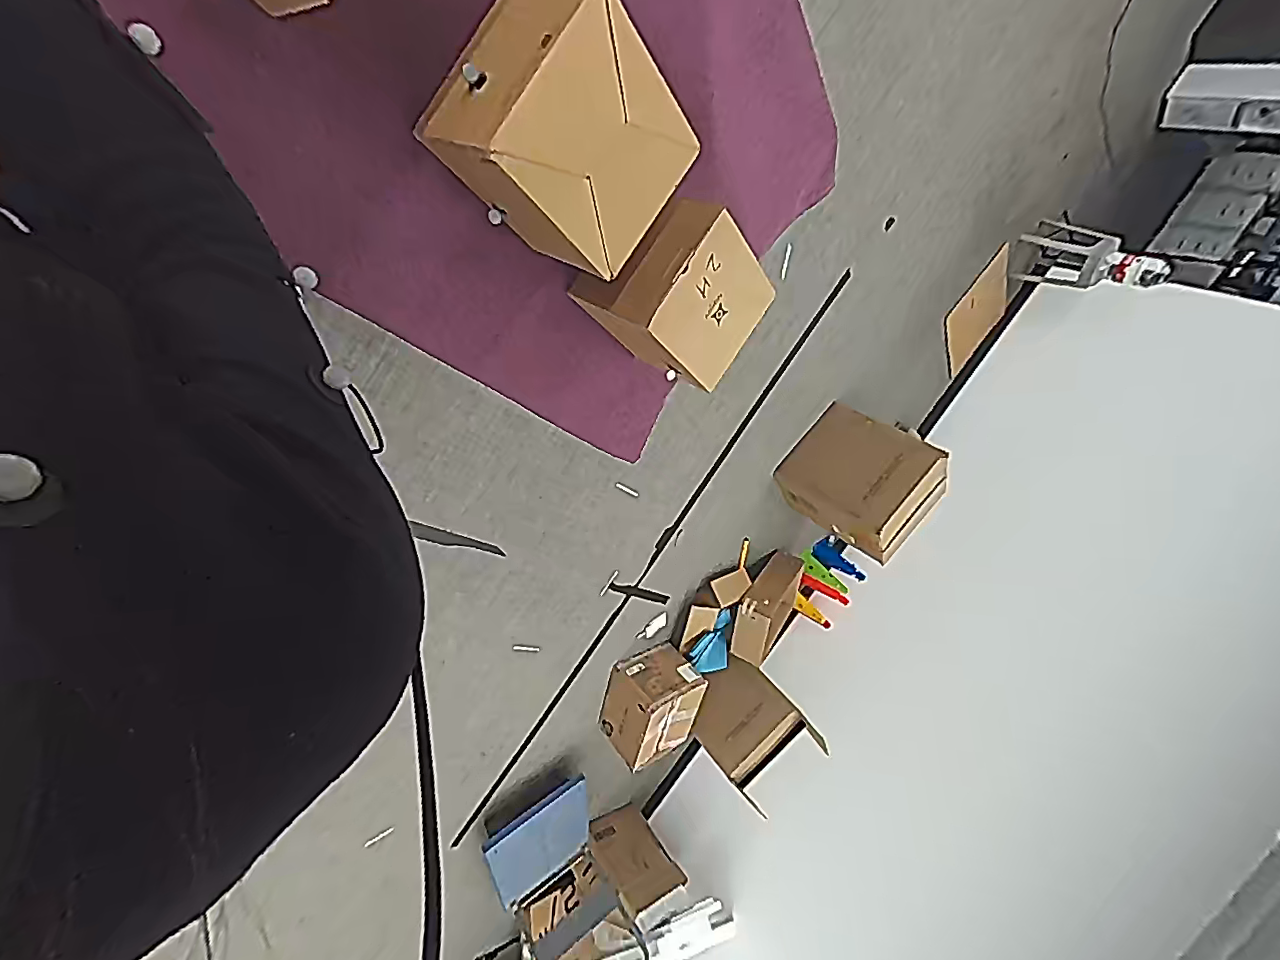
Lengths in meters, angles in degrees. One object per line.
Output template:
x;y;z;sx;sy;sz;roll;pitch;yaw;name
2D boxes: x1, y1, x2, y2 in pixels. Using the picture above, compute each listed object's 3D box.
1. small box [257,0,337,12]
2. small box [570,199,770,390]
-0.240;-0.434;0.323;0.179;0.176;0.168;-55;142;4;small box
0.041;-0.256;0.742;0.168;0.176;0.179;-56;142;2;small box
